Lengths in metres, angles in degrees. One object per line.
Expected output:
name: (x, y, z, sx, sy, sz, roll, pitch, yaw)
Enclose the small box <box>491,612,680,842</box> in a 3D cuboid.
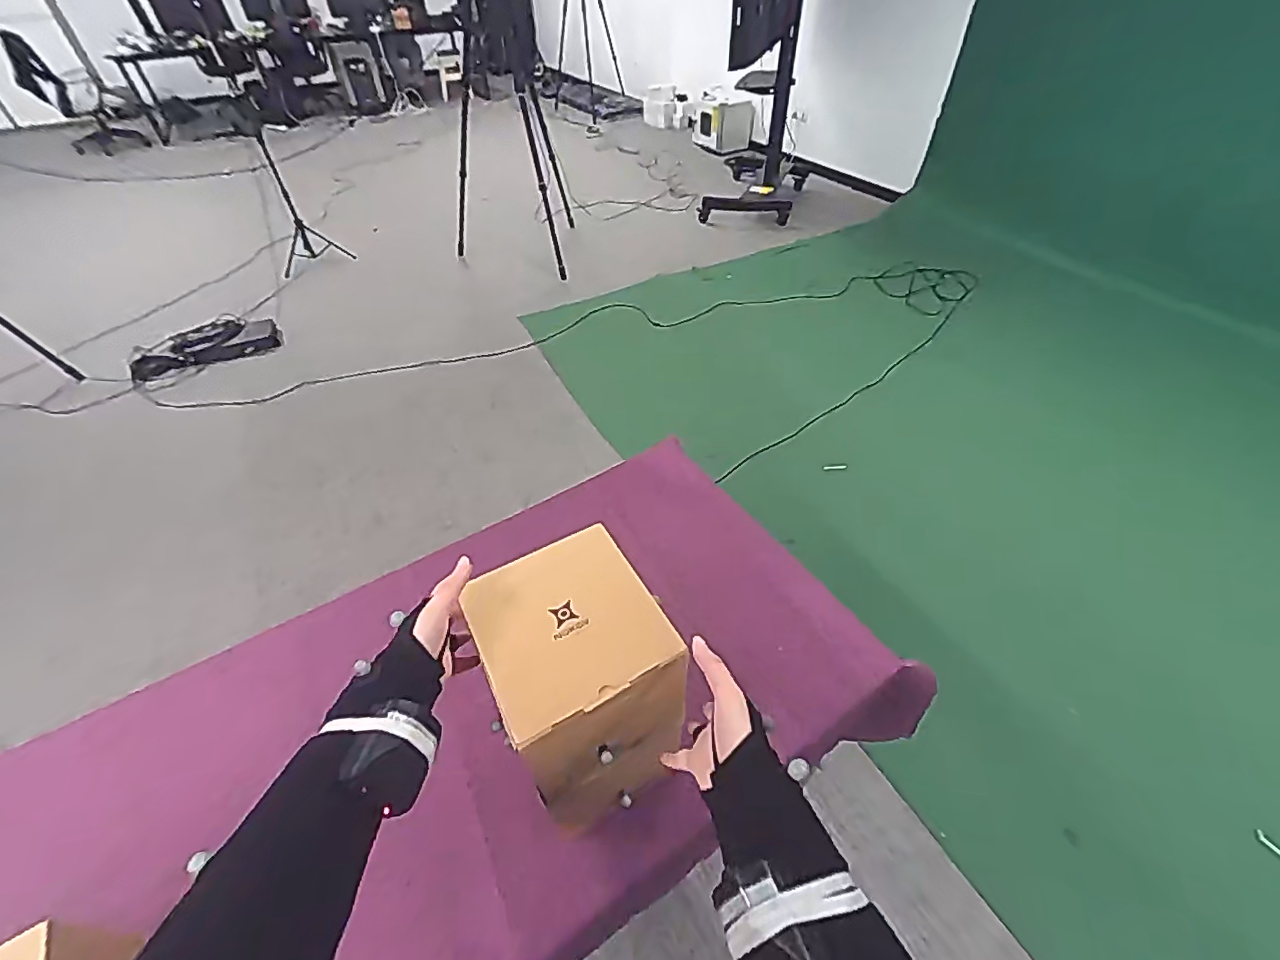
small box: (-0.066, 0.307, 0.676, 0.168, 0.176, 0.179, -24, 49, -19)
